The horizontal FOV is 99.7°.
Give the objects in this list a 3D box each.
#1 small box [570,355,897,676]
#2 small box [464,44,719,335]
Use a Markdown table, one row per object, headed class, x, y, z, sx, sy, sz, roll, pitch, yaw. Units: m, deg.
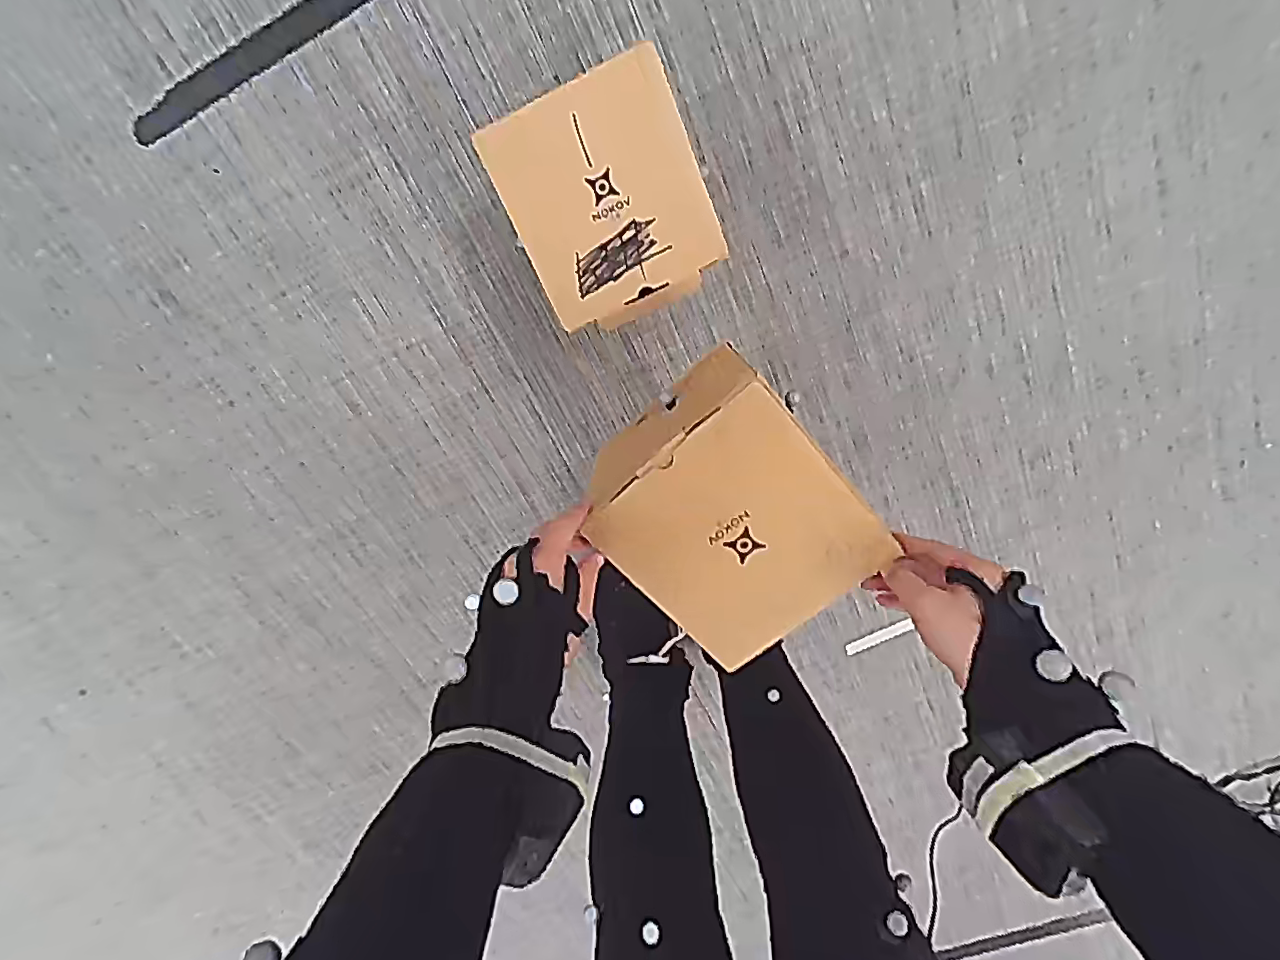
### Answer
| class | x | y | z | sx | sy | sz | roll | pitch | yaw |
| --- | --- | --- | --- | --- | --- | --- | --- | --- | --- |
| small box | 0.069 | 0.017 | 0.454 | 0.168 | 0.176 | 0.179 | -41 | 104 | 15 |
| small box | -0.037 | -0.265 | 0.531 | 0.168 | 0.176 | 0.179 | -24 | 109 | 7 |
